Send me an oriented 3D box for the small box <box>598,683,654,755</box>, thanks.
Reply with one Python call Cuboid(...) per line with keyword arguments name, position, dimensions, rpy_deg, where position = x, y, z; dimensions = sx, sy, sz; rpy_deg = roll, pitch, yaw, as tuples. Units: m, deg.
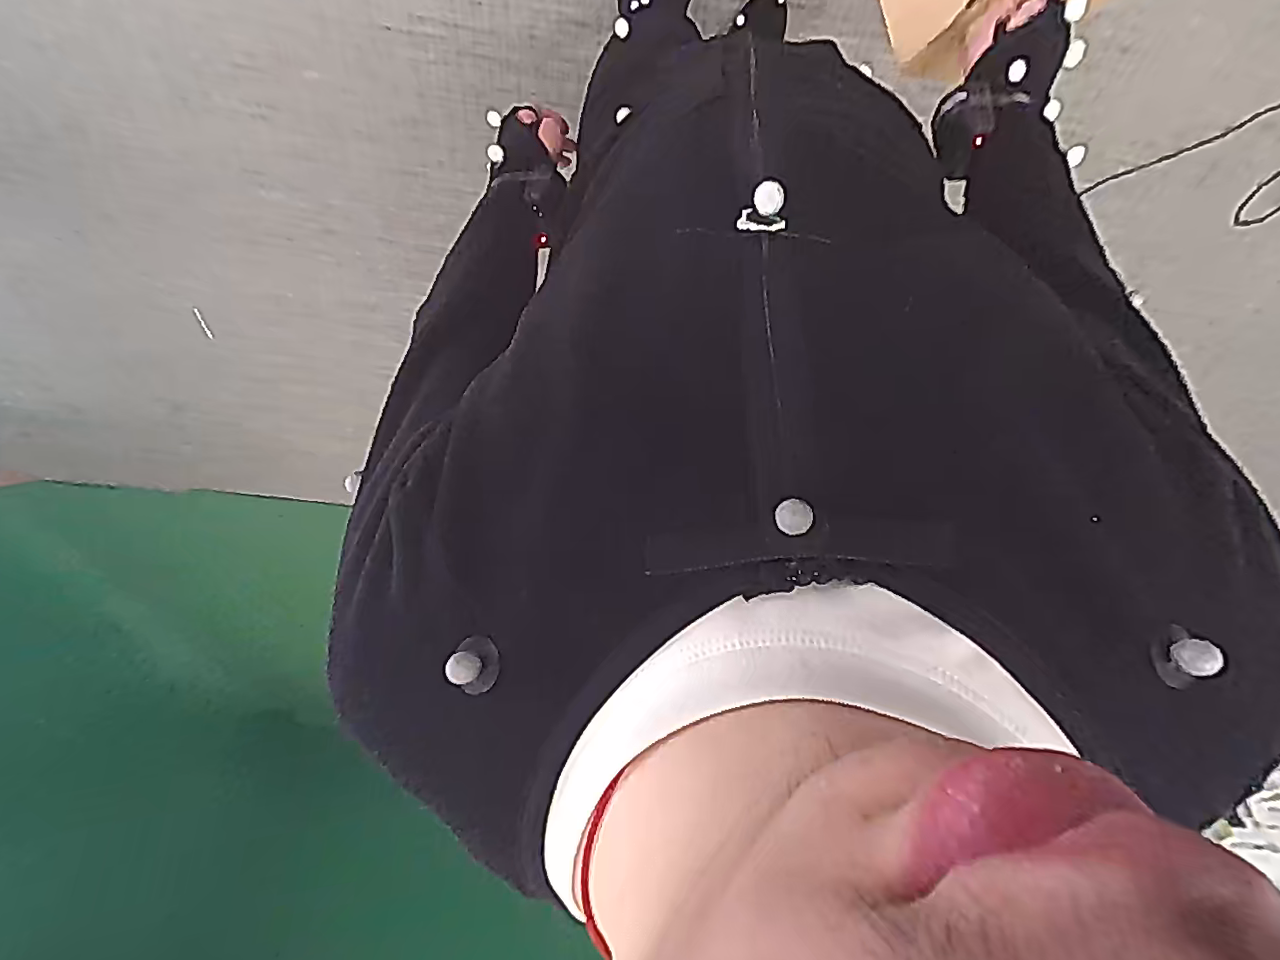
Cuboid(name="small box", position=(-0.041, 0.770, 1.746), dimensions=(0.168, 0.176, 0.179), rpy_deg=(2, 138, 4))
